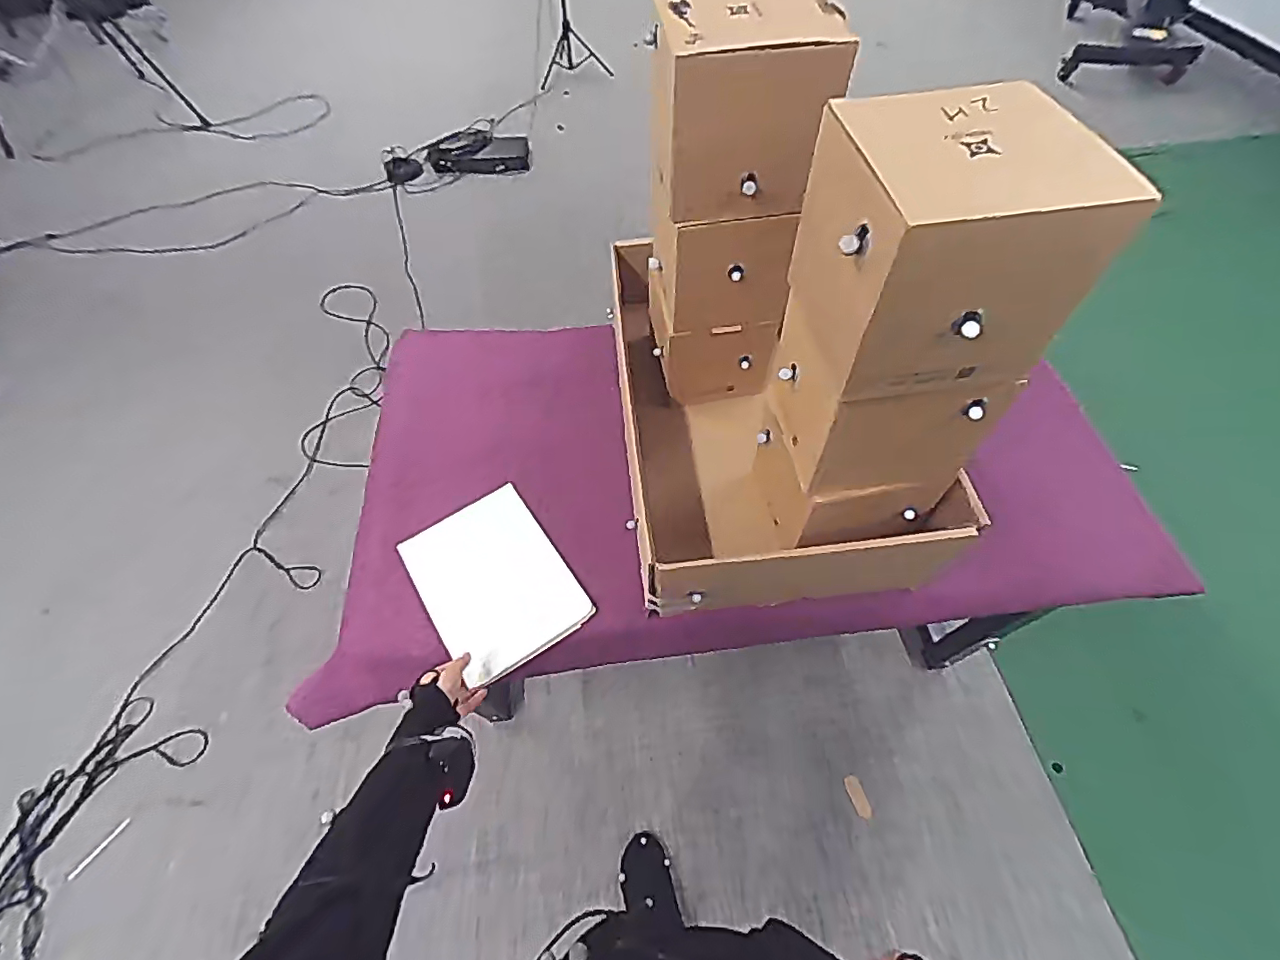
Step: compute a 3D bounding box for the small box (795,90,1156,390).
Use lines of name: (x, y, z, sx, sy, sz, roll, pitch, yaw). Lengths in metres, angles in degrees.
small box: (0.244, -0.190, 0.454, 0.168, 0.176, 0.179, -6, 56, -2)

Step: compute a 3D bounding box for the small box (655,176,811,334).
small box: (0.119, -0.324, 0.745, 0.179, 0.176, 0.168, -8, 58, -3)

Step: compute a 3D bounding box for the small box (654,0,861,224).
small box: (0.112, -0.414, 0.607, 0.179, 0.176, 0.168, -6, 58, -3)

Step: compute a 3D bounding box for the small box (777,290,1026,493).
small box: (0.257, -0.099, 0.591, 0.179, 0.176, 0.168, -6, 56, -2)
